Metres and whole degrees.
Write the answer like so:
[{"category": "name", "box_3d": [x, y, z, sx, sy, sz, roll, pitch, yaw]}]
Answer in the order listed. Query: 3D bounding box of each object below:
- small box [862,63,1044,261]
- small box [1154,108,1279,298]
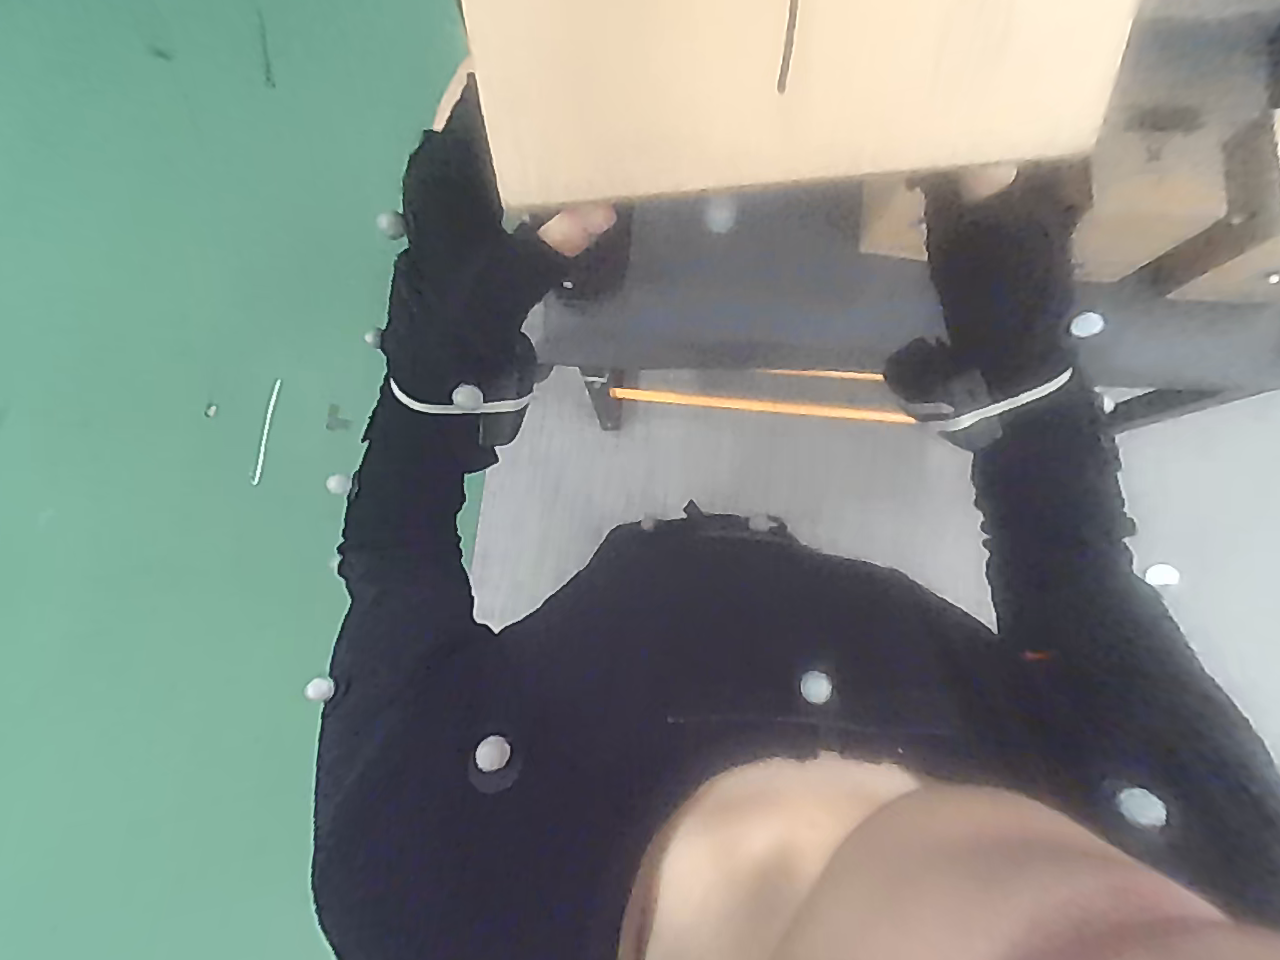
[{"category": "small box", "box_3d": [0.434, -0.442, 0.775, 0.168, 0.176, 0.179, 9, 81, 2]}, {"category": "small box", "box_3d": [0.876, -0.372, 0.753, 0.168, 0.176, 0.179, 3, 81, 1]}]
